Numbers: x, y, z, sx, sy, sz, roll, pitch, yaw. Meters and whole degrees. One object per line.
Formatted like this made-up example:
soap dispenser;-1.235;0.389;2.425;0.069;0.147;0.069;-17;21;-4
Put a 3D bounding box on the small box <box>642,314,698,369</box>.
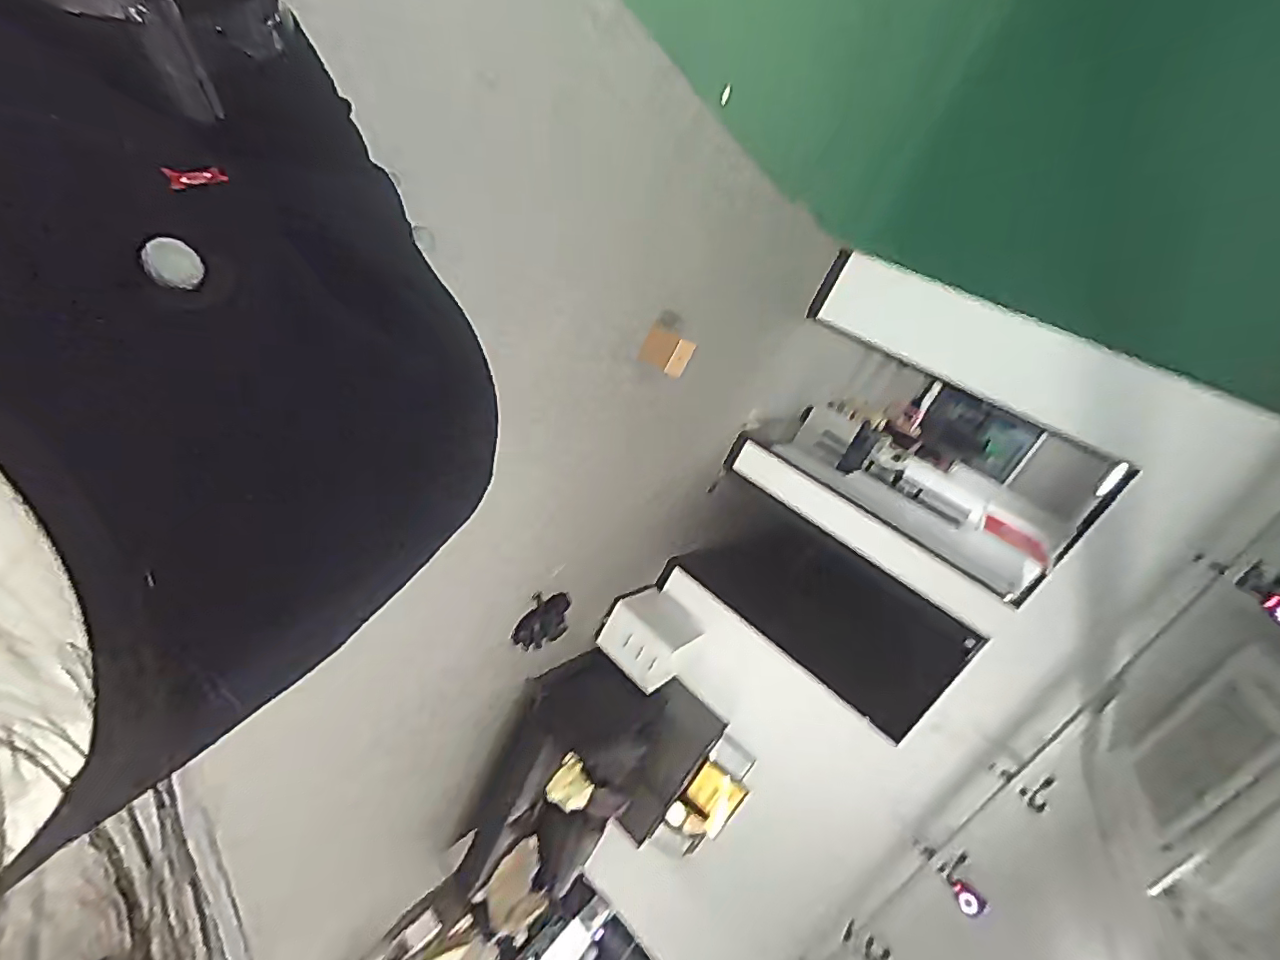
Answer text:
small box;0.132;-0.644;2.520;0.168;0.176;0.179;-4;125;-58
